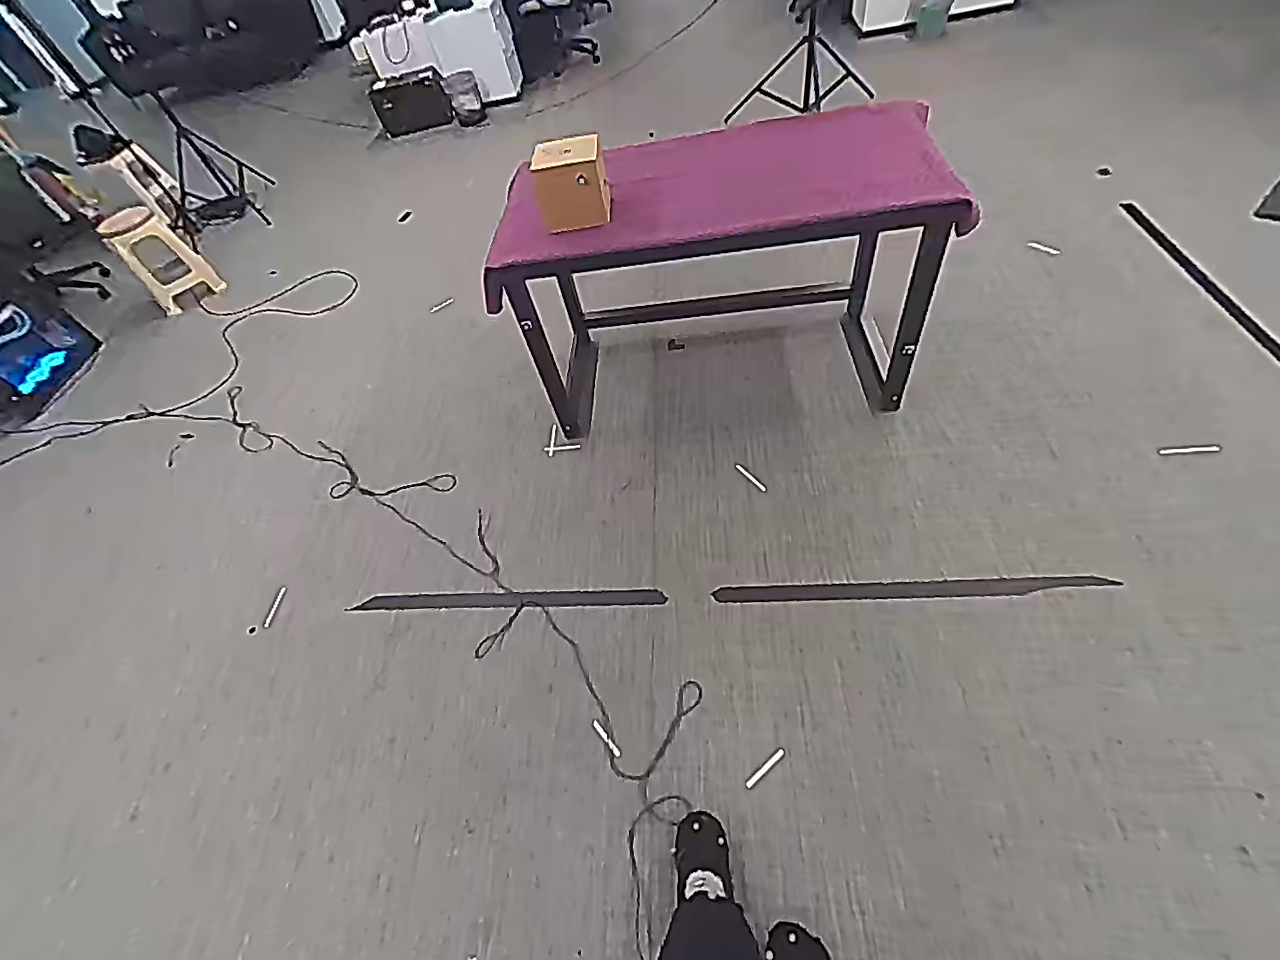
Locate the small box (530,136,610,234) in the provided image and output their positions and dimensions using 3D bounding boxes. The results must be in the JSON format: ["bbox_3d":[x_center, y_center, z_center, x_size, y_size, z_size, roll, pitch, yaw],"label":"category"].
[{"bbox_3d":[-0.181,-0.795,1.464,0.179,0.176,0.168,-6,51,7],"label":"small box"}]
